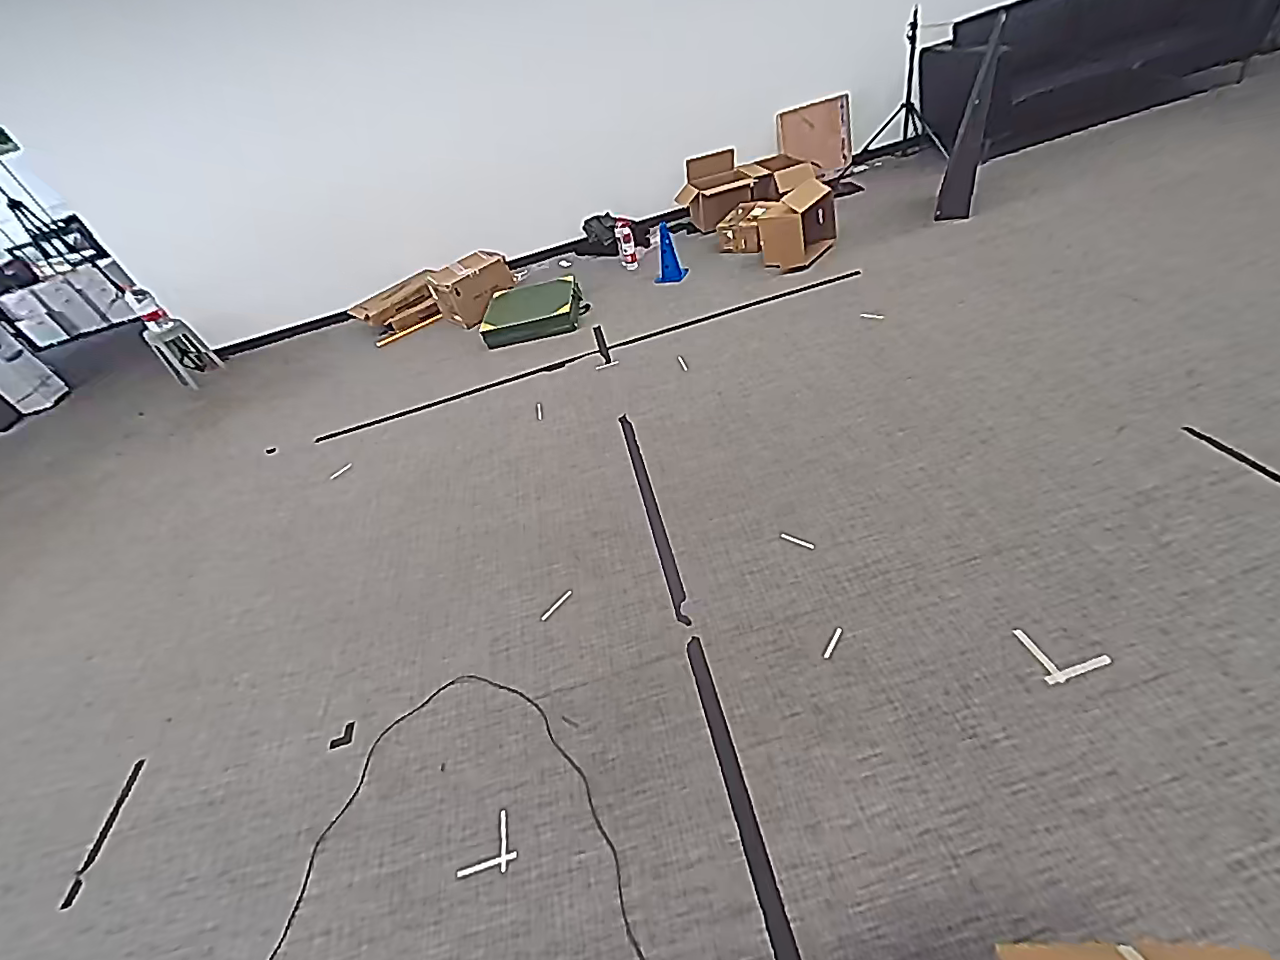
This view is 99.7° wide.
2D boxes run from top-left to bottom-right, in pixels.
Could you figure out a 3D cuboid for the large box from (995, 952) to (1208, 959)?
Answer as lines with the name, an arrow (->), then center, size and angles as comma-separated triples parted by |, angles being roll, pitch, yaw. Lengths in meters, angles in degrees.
large box -> 0.599, 0.741, 0.486 | 0.320, 0.408, 0.320 | -9, 81, 11
